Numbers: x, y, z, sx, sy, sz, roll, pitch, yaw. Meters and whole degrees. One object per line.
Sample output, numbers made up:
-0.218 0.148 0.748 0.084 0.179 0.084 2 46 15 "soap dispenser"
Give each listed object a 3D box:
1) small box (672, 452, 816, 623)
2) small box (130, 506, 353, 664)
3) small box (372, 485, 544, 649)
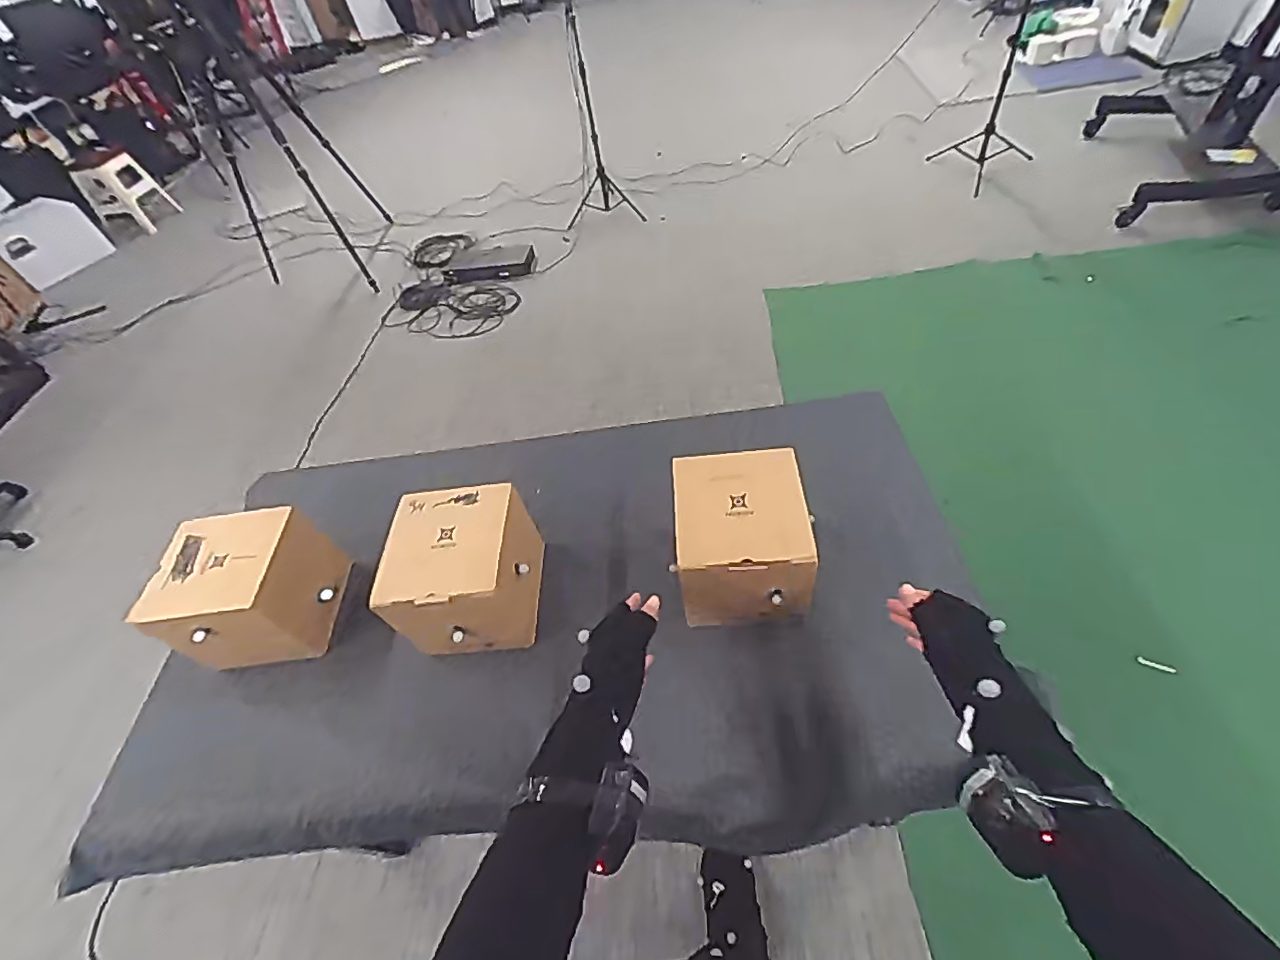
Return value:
0.137 0.087 0.745 0.168 0.176 0.179 -5 49 5 "small box"
-0.572 0.162 0.806 0.179 0.176 0.168 -7 51 3 "small box"
-0.243 0.131 0.774 0.168 0.176 0.179 -6 51 5 "small box"
